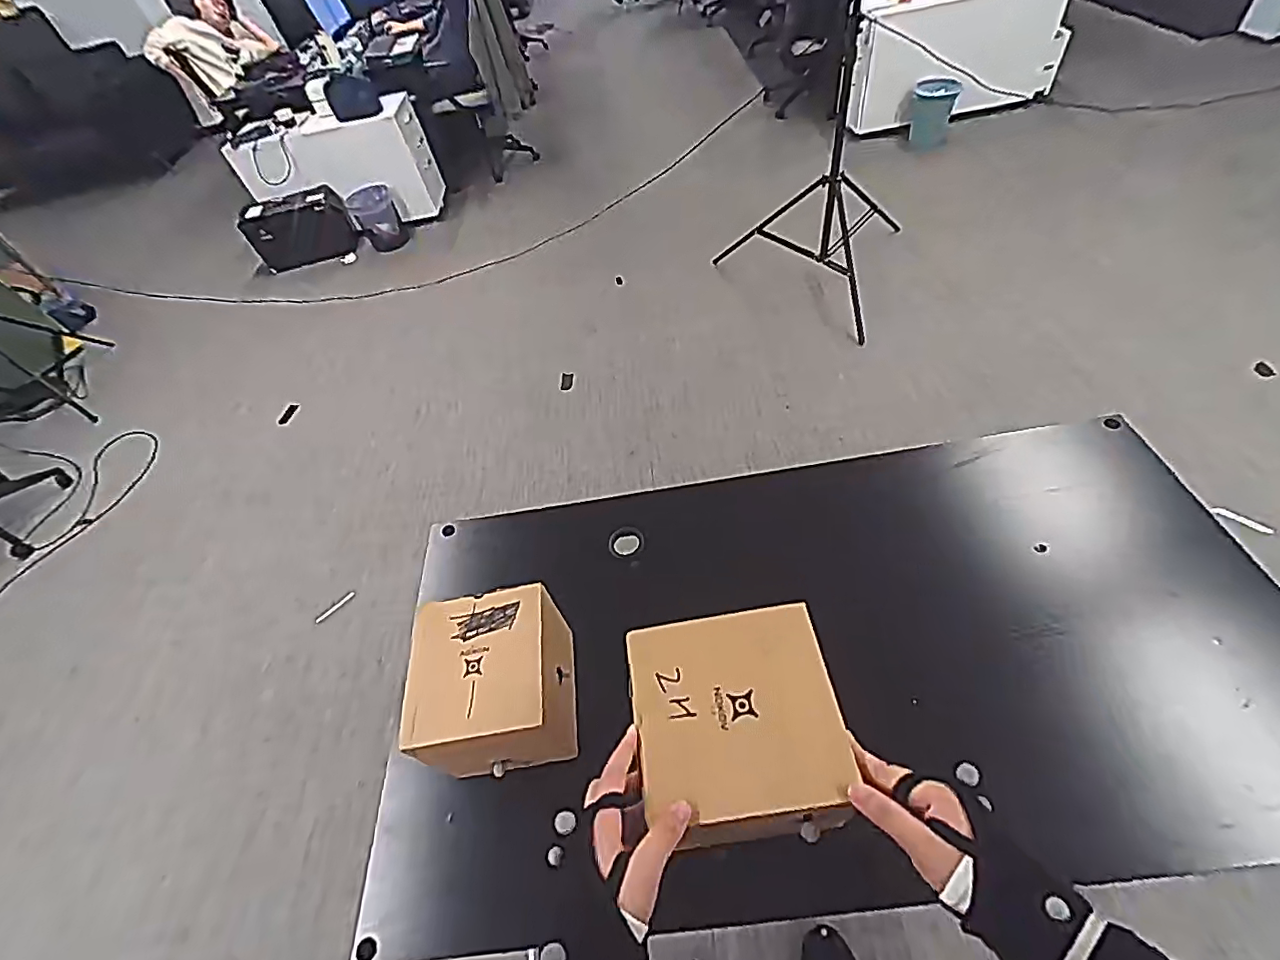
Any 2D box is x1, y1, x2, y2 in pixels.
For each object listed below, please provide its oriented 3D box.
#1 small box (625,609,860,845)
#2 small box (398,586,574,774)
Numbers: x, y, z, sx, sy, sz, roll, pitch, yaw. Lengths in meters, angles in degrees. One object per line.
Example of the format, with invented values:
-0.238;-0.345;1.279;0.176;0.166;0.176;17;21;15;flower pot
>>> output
0.089;0.247;0.531;0.179;0.176;0.168;-10;51;4;small box
-0.186;0.264;0.706;0.168;0.176;0.179;-11;52;2;small box
